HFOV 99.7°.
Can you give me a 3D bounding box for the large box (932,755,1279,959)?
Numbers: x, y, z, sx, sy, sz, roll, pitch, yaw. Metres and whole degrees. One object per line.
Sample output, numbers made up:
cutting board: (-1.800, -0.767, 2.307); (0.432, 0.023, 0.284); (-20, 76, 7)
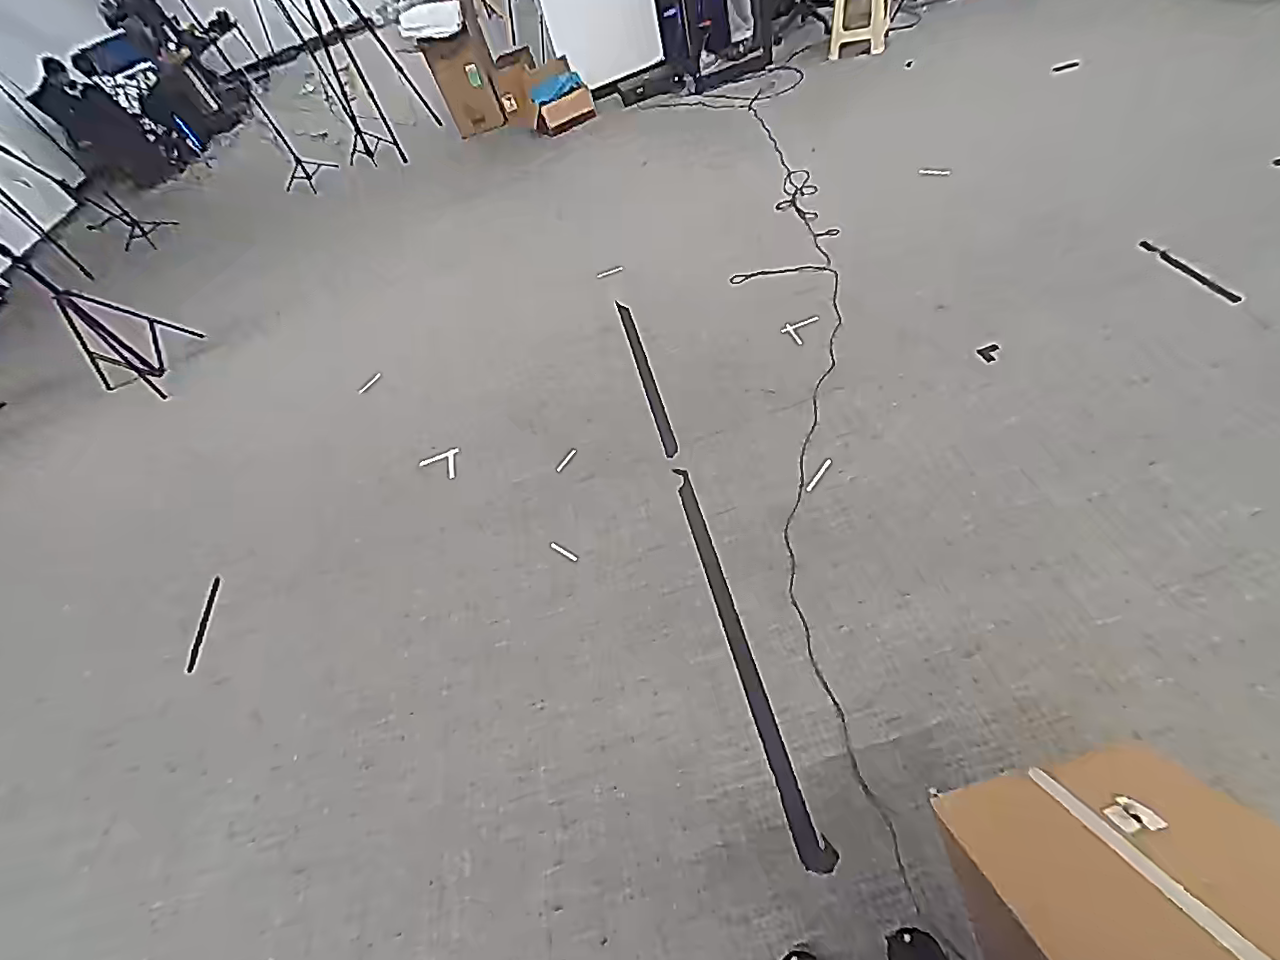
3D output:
large box: (0.628, 0.602, 0.621); (0.320, 0.408, 0.320); (-18, 89, 4)
